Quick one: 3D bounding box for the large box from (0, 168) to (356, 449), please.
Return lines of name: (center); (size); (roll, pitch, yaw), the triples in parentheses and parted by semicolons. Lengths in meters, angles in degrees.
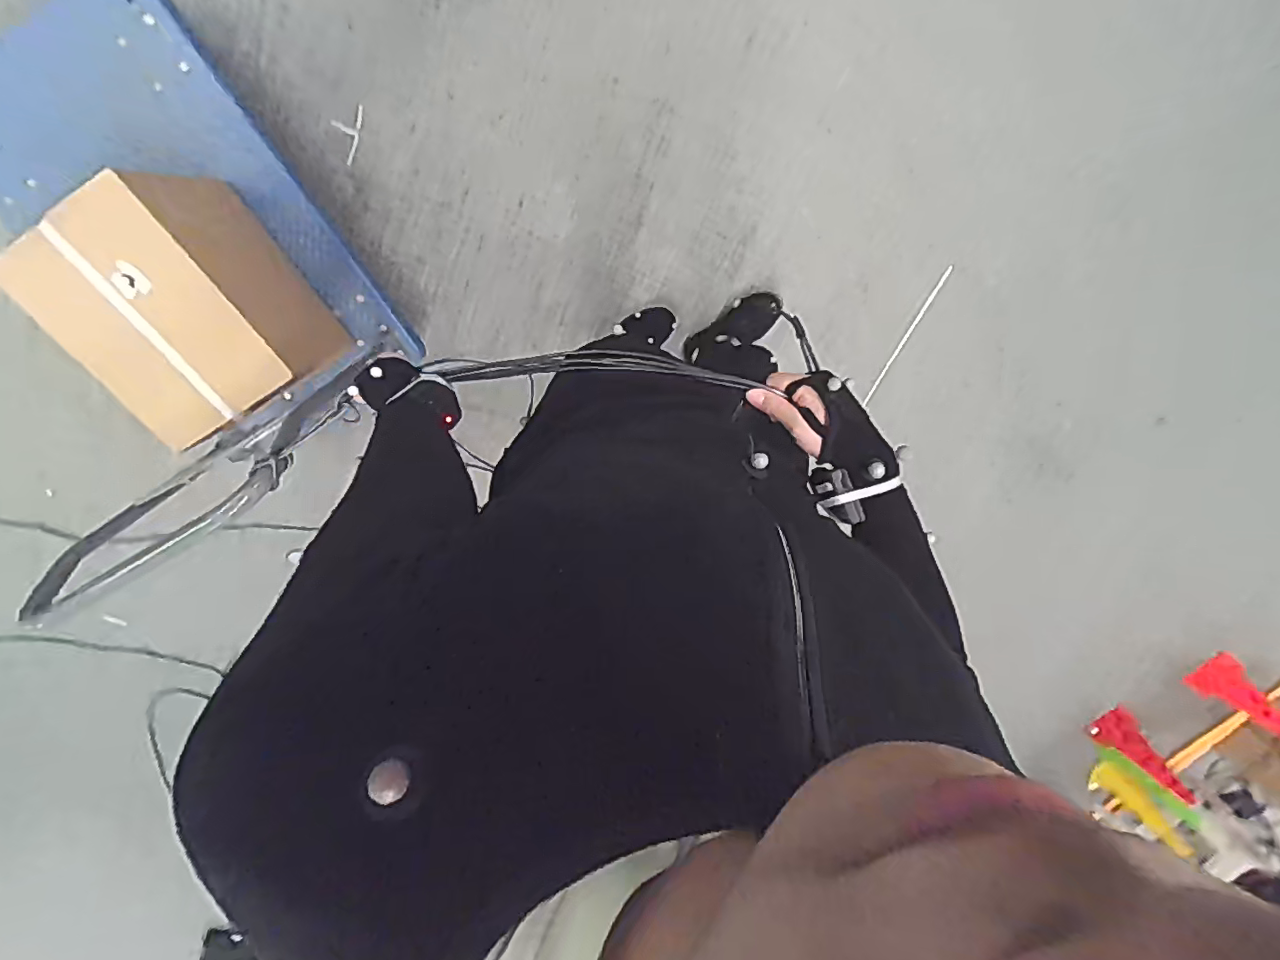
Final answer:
large box: (-0.891, -0.343, 1.106); (0.320, 0.320, 0.408); (-28, 113, 9)
